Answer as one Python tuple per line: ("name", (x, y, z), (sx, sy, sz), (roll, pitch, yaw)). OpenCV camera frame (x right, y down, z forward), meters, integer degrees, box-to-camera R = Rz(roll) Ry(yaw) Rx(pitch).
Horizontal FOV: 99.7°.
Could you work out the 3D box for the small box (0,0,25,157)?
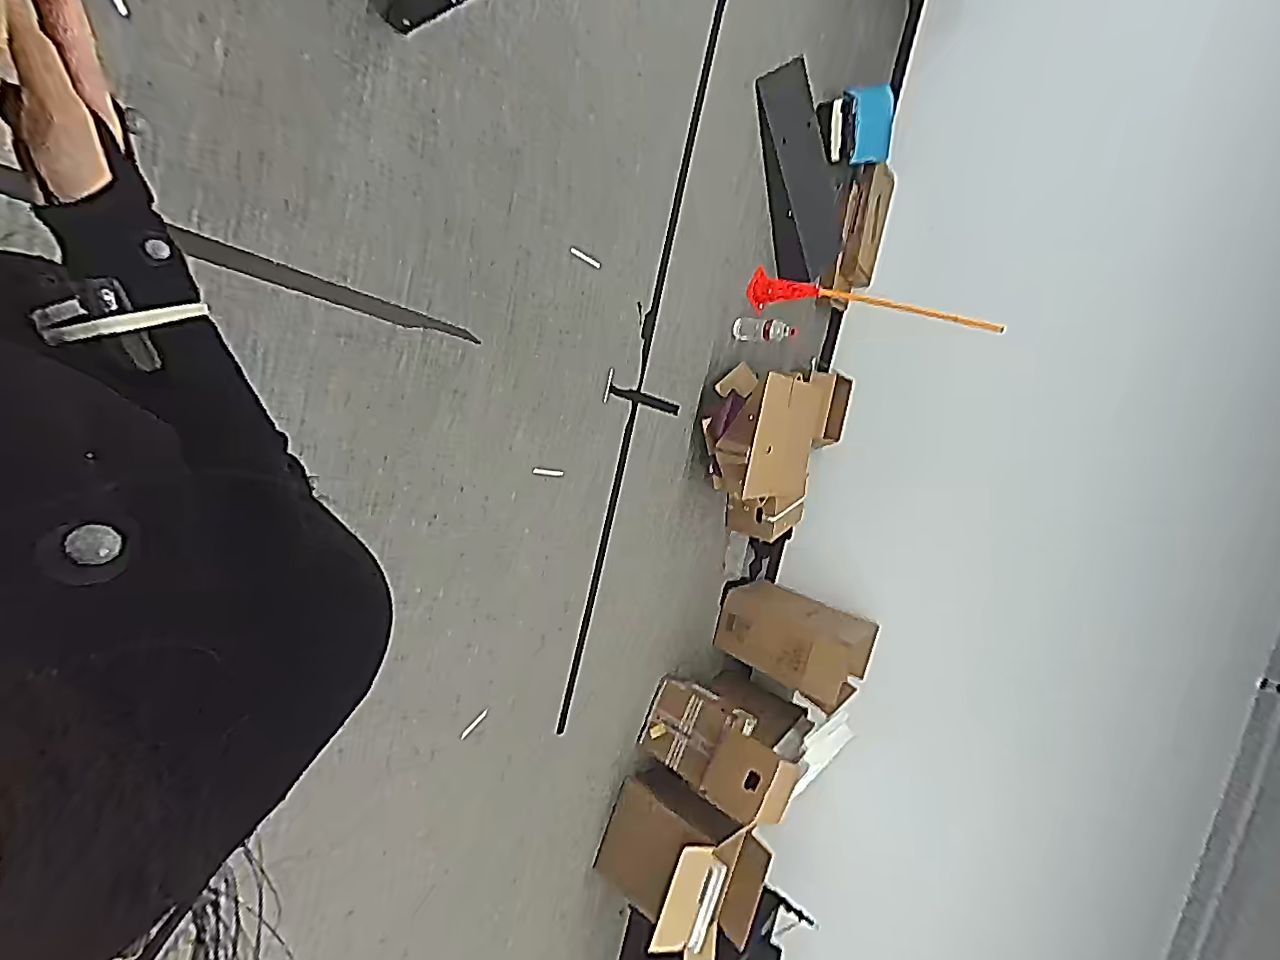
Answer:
("small box", (-0.391, -0.258, 0.225), (0.168, 0.176, 0.179), (-1, 85, -53))
